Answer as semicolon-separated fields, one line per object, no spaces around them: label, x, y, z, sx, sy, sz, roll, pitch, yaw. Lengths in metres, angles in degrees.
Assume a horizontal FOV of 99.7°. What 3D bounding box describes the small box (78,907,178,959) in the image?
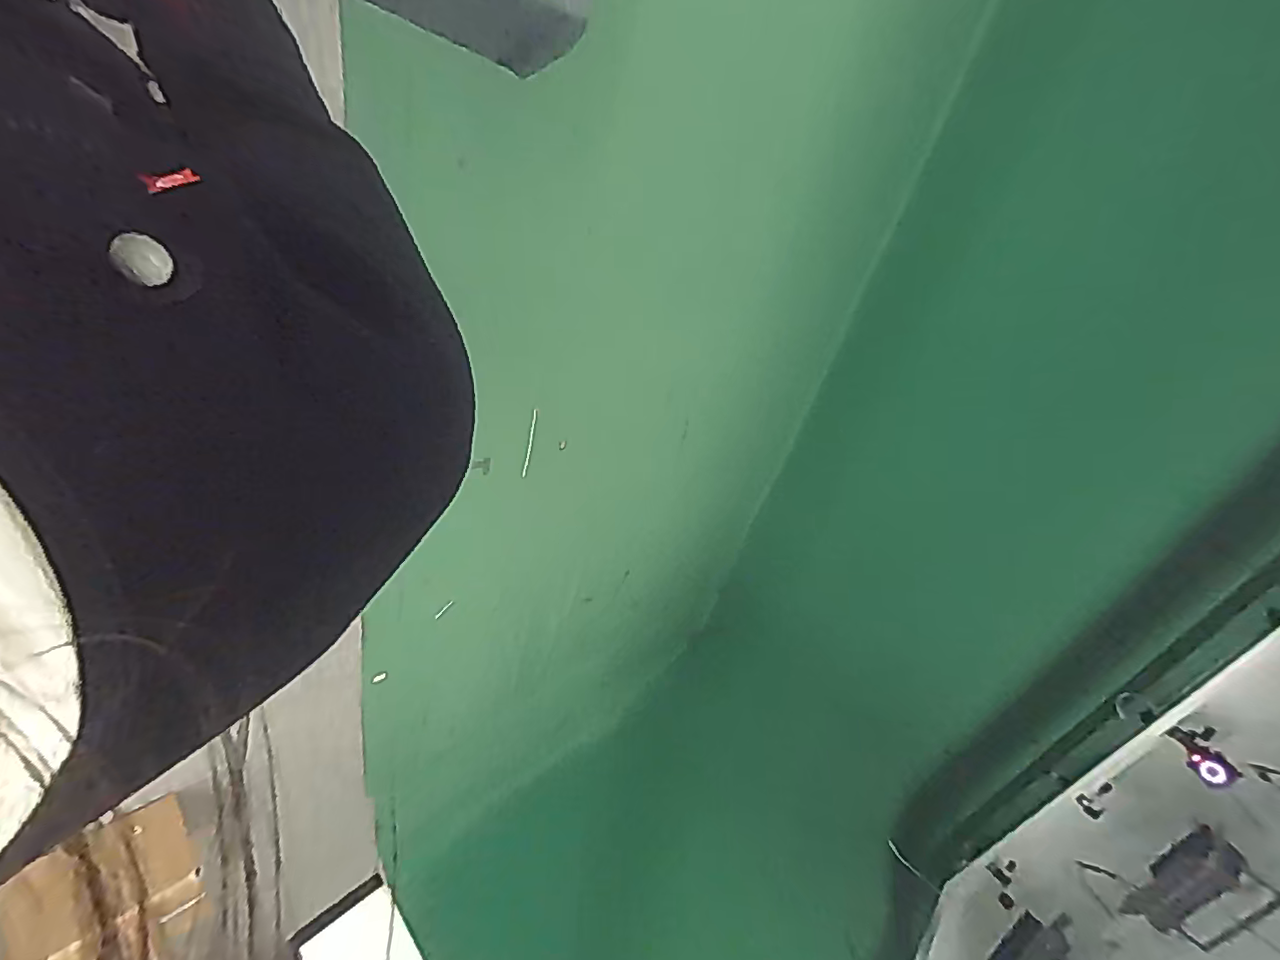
small box;-1.475;1.393;1.562;0.168;0.176;0.179;-23;138;-41
